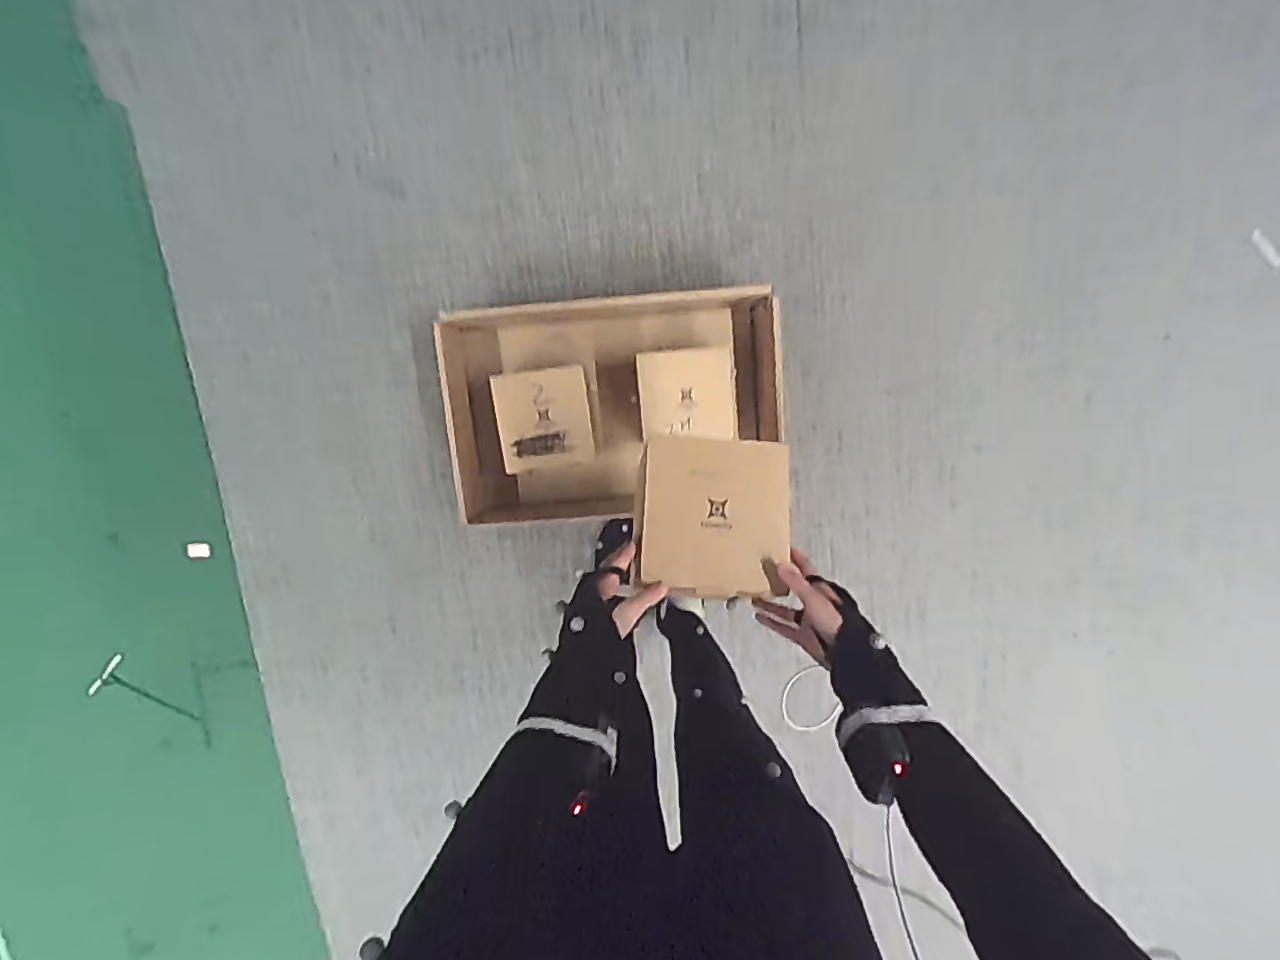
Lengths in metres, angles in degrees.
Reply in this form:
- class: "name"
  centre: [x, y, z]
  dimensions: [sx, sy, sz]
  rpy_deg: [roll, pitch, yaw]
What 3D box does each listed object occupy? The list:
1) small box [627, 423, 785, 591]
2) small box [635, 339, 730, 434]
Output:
- class: "small box"
  centre: [0.073, 0.045, 0.674]
  dimensions: [0.168, 0.176, 0.179]
  rpy_deg: [5, 76, -4]
- class: "small box"
  centre: [0.076, -0.171, 1.045]
  dimensions: [0.168, 0.176, 0.179]
  rpy_deg: [-4, 100, 1]
